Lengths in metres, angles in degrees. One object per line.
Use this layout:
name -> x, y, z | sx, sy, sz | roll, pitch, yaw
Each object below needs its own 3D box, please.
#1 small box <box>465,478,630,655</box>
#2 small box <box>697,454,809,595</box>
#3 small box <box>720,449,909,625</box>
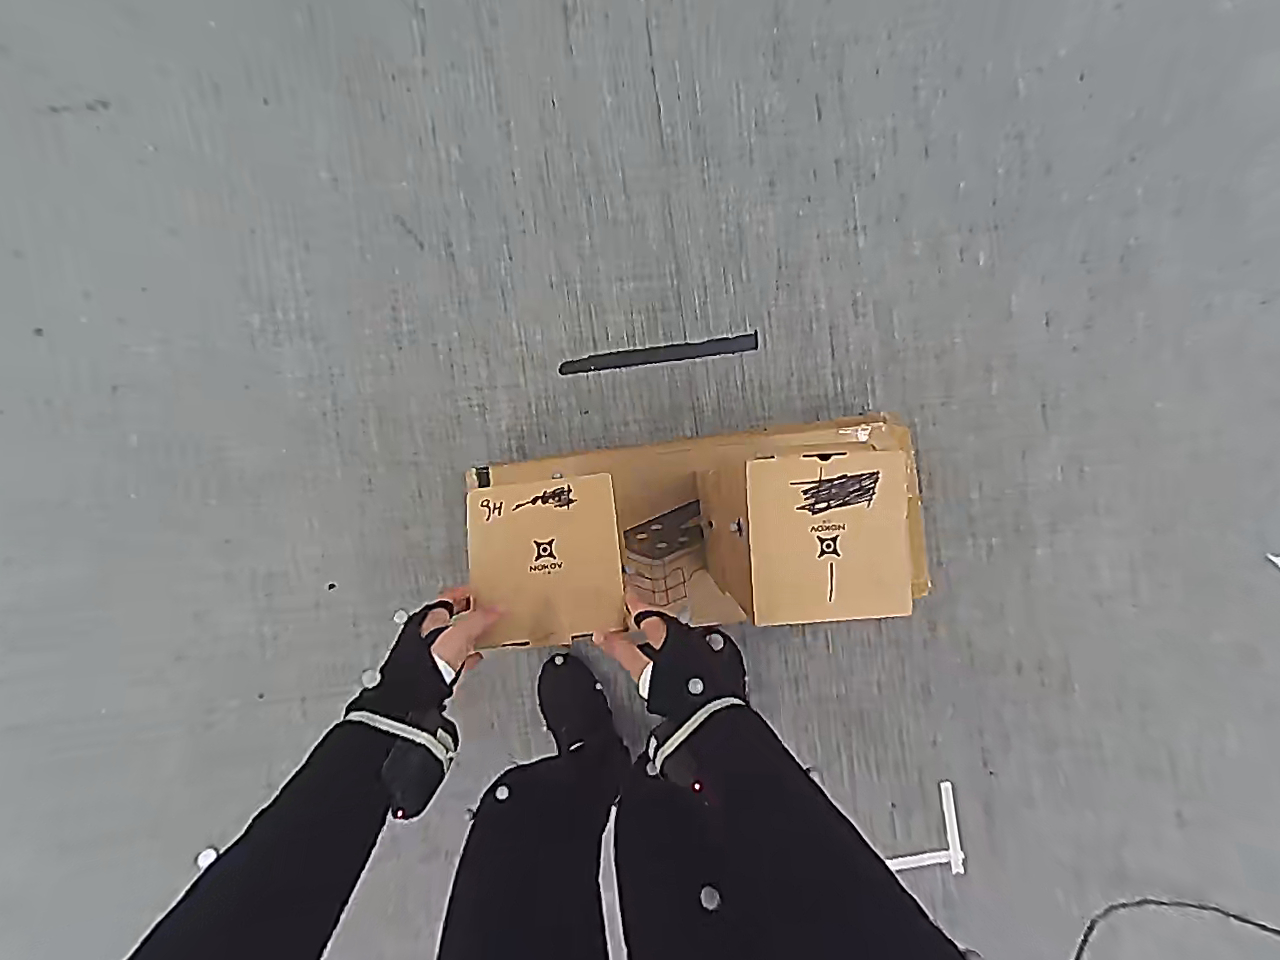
small box -> -0.103, 0.107, 0.655 | 0.168, 0.176, 0.179 | -6, 76, -1
small box -> 0.182, 0.060, 0.804 | 0.168, 0.176, 0.179 | -8, 91, 0
small box -> 0.192, 0.059, 0.640 | 0.168, 0.176, 0.179 | -4, 91, 0
